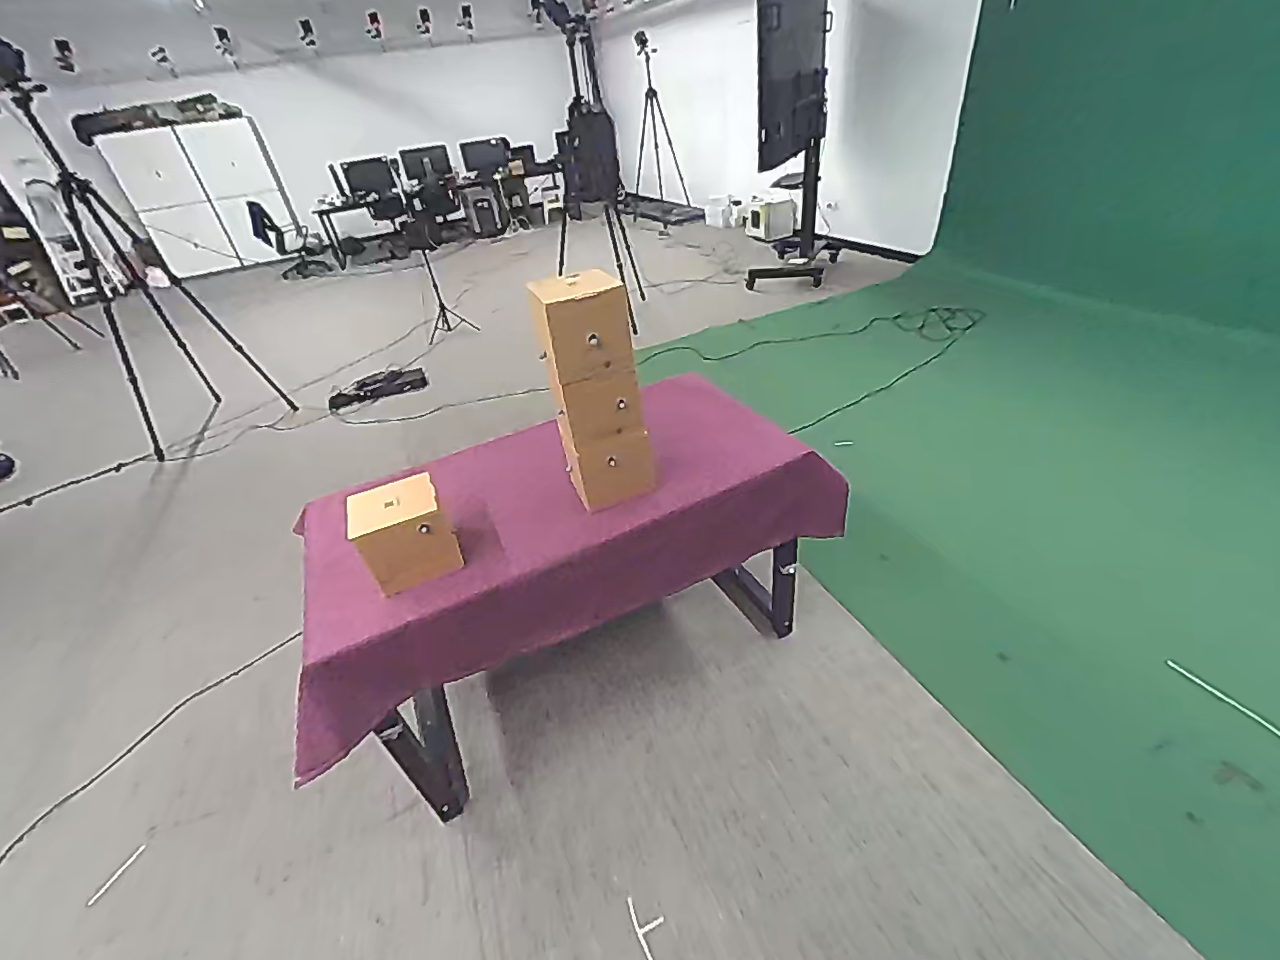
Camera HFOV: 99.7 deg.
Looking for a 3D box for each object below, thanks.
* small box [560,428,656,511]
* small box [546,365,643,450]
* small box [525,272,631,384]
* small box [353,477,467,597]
[{"bbox_3d":[-0.076,-0.048,1.316,0.179,0.176,0.168,-19,37,-13],"label":"small box"},{"bbox_3d":[-0.102,-0.184,1.230,0.168,0.176,0.179,-18,35,-13],"label":"small box"},{"bbox_3d":[-0.127,-0.316,1.135,0.168,0.176,0.179,-19,37,-14],"label":"small box"},{"bbox_3d":[-0.499,0.125,1.178,0.179,0.176,0.168,-21,36,-16],"label":"small box"}]
